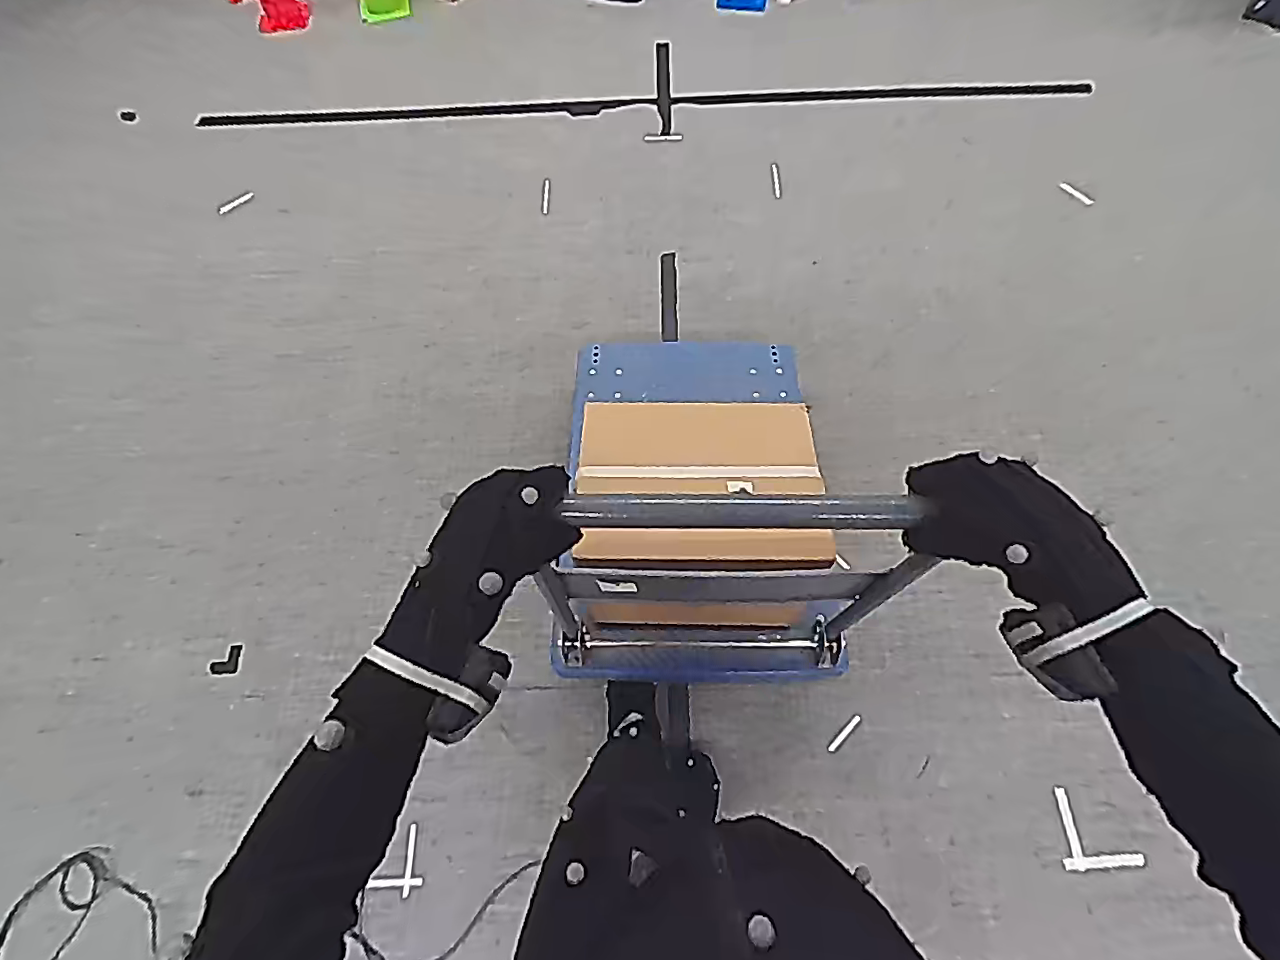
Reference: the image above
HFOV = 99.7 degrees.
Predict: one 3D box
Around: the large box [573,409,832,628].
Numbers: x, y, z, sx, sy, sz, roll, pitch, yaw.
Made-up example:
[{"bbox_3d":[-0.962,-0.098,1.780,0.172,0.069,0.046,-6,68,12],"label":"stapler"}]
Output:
[{"bbox_3d":[0.093,0.081,1.022,0.408,0.320,0.320,0,57,0],"label":"large box"}]
